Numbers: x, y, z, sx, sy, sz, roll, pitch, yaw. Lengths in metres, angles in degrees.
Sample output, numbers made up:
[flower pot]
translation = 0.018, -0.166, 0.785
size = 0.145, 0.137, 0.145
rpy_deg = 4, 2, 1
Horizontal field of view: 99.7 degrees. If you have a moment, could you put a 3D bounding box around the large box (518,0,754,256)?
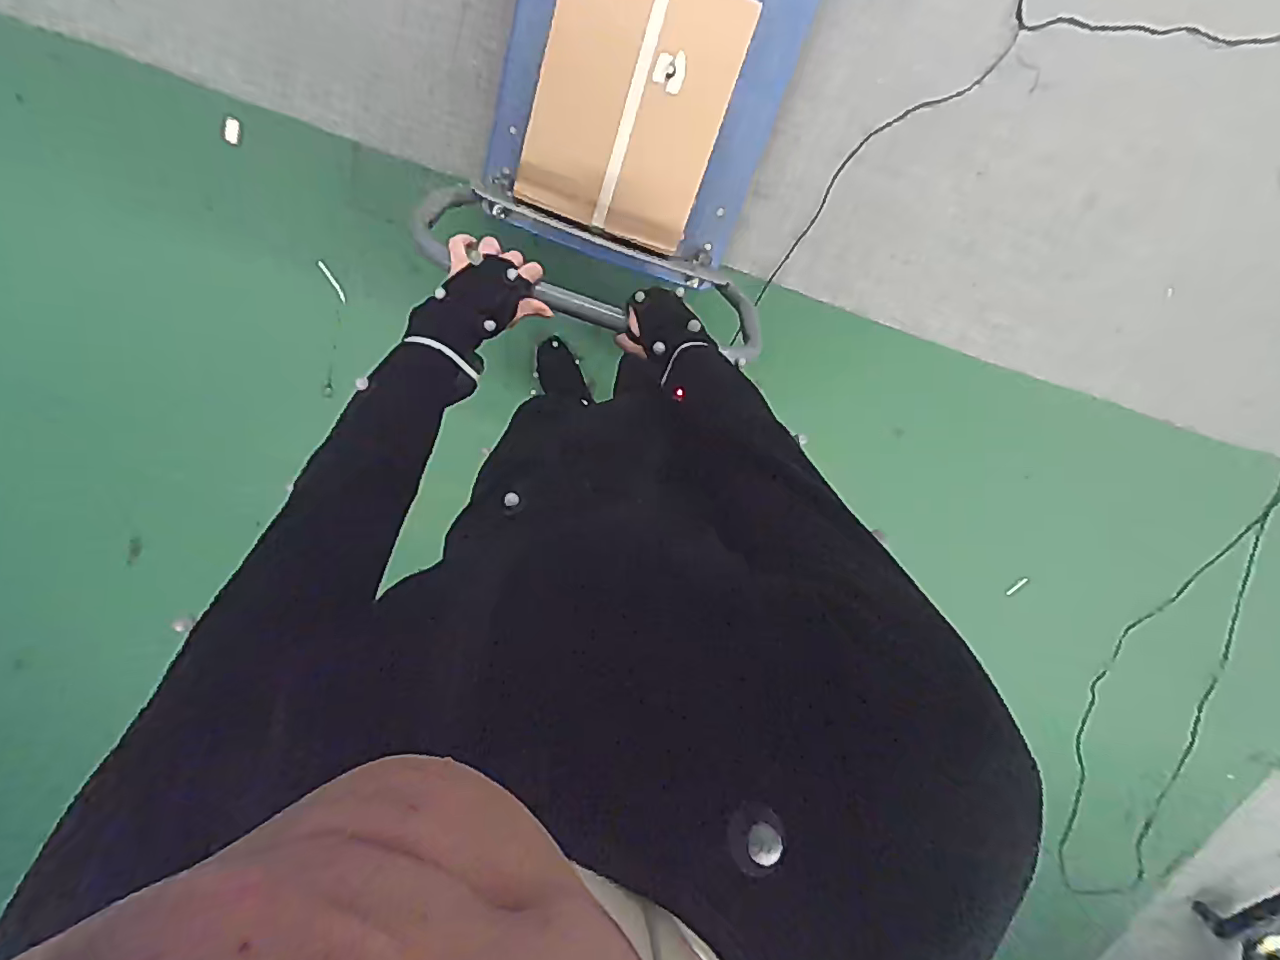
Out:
[large box]
translation = -0.026, -0.696, 1.061
size = 0.320, 0.320, 0.408
rpy_deg = 16, 112, -12
